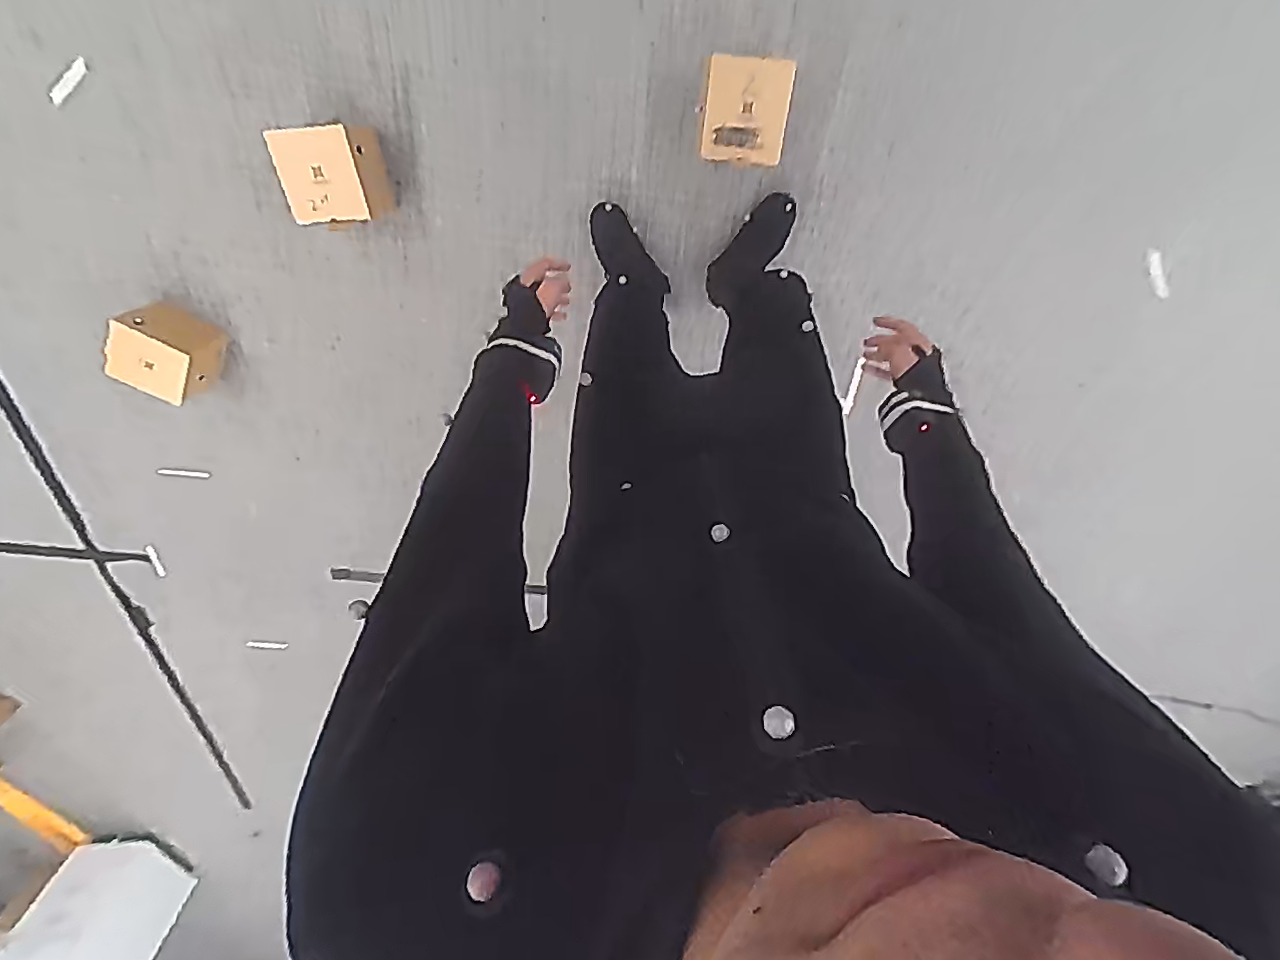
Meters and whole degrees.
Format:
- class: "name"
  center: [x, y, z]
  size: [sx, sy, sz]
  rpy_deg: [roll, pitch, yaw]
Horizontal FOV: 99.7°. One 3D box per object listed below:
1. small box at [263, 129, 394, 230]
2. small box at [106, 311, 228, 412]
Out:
- class: "small box"
  center: [-0.672, -0.663, 1.190]
  size: [0.168, 0.176, 0.179]
  rpy_deg: [-5, 124, 1]
- class: "small box"
  center: [-1.219, -0.312, 1.404]
  size: [0.179, 0.176, 0.168]
  rpy_deg: [27, 118, -17]
